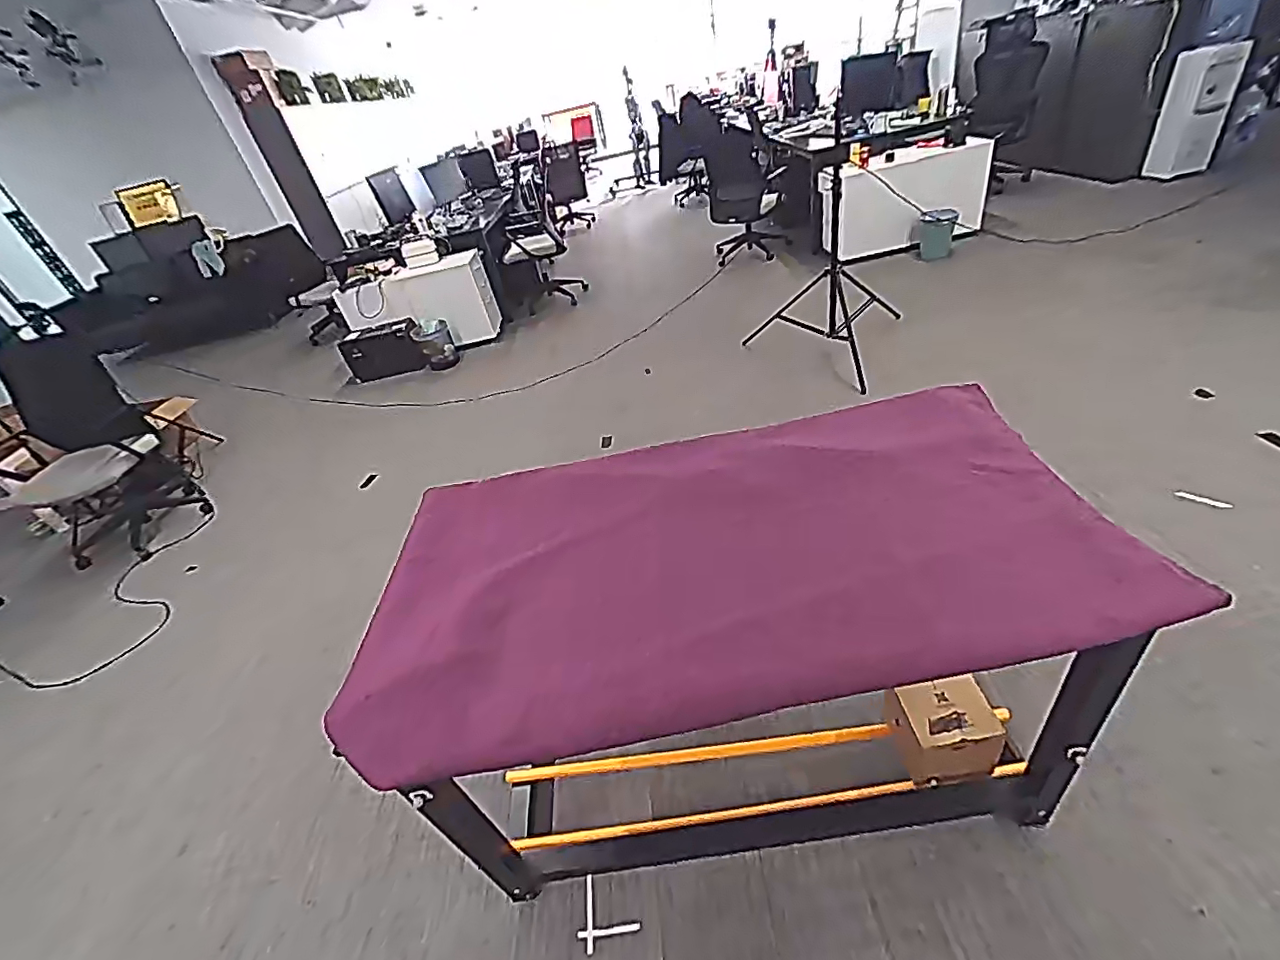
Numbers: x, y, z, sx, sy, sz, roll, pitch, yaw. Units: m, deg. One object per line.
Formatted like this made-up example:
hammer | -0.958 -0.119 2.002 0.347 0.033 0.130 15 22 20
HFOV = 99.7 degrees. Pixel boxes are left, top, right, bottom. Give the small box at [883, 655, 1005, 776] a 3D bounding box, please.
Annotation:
small box | 0.638 0.510 1.157 0.168 0.176 0.179 -12 36 5
